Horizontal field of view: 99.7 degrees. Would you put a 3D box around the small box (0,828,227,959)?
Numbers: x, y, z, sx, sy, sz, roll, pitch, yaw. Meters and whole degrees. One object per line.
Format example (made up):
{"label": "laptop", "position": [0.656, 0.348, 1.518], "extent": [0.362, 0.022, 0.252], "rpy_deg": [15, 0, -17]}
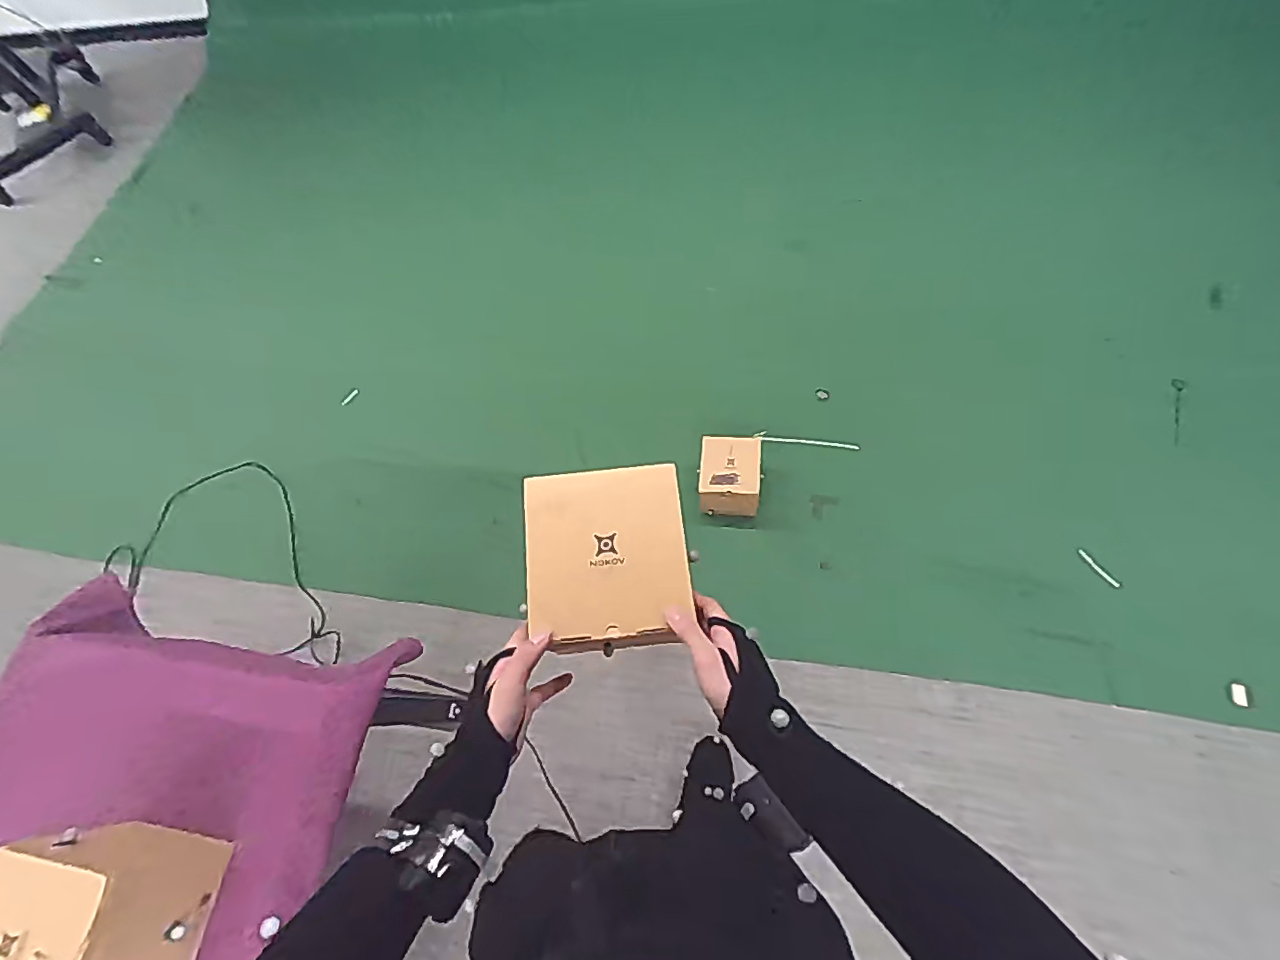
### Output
{"label": "small box", "position": [-0.670, 0.542, 0.657], "extent": [0.179, 0.176, 0.168], "rpy_deg": [4, 68, 10]}

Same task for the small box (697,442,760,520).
{"label": "small box", "position": [0.259, 0.008, 1.573], "extent": [0.168, 0.176, 0.179], "rpy_deg": [3, 66, 9]}

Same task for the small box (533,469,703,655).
{"label": "small box", "position": [-0.027, 0.103, 0.629], "extent": [0.168, 0.176, 0.179], "rpy_deg": [-6, 71, -2]}
